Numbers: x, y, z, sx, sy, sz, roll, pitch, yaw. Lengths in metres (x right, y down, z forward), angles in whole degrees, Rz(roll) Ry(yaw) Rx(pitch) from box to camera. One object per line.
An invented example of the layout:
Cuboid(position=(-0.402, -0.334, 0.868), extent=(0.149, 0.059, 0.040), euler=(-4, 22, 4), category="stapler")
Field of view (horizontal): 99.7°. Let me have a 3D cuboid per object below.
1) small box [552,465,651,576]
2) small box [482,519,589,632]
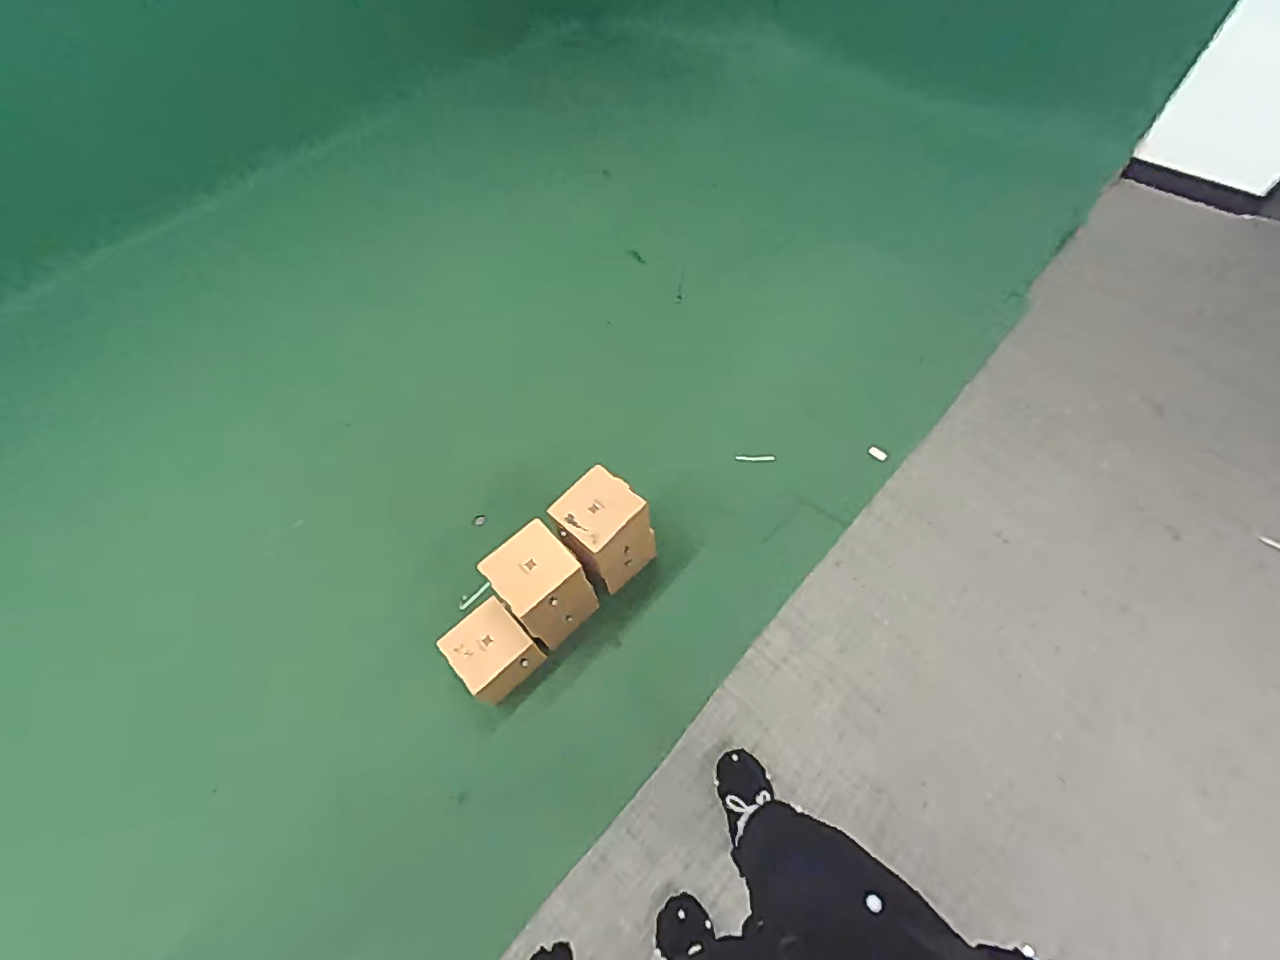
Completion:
Cuboid(position=(-0.090, 0.103, 1.335), extent=(0.168, 0.176, 0.179), euler=(38, 68, 23), category="small box")
Cuboid(position=(-0.235, 0.229, 1.275), extent=(0.179, 0.176, 0.168), euler=(-39, 66, -16), category="small box")
